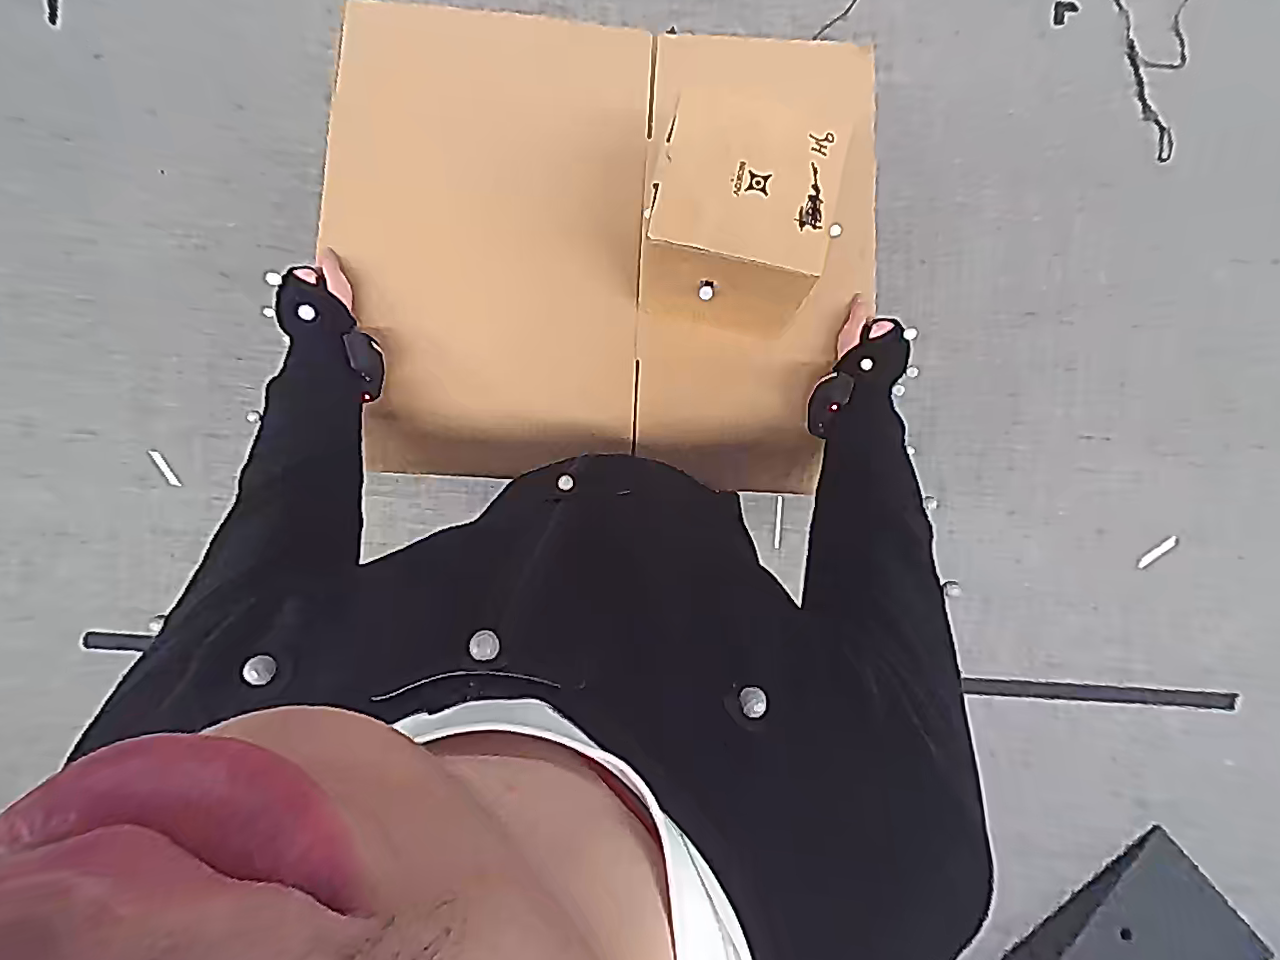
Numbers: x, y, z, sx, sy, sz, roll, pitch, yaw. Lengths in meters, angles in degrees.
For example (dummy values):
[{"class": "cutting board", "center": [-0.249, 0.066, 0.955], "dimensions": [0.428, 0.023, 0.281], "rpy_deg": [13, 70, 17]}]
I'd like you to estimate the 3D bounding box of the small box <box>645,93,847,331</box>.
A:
[{"class": "small box", "center": [0.107, -0.288, 0.616], "dimensions": [0.179, 0.176, 0.168], "rpy_deg": [13, 84, 2]}]
